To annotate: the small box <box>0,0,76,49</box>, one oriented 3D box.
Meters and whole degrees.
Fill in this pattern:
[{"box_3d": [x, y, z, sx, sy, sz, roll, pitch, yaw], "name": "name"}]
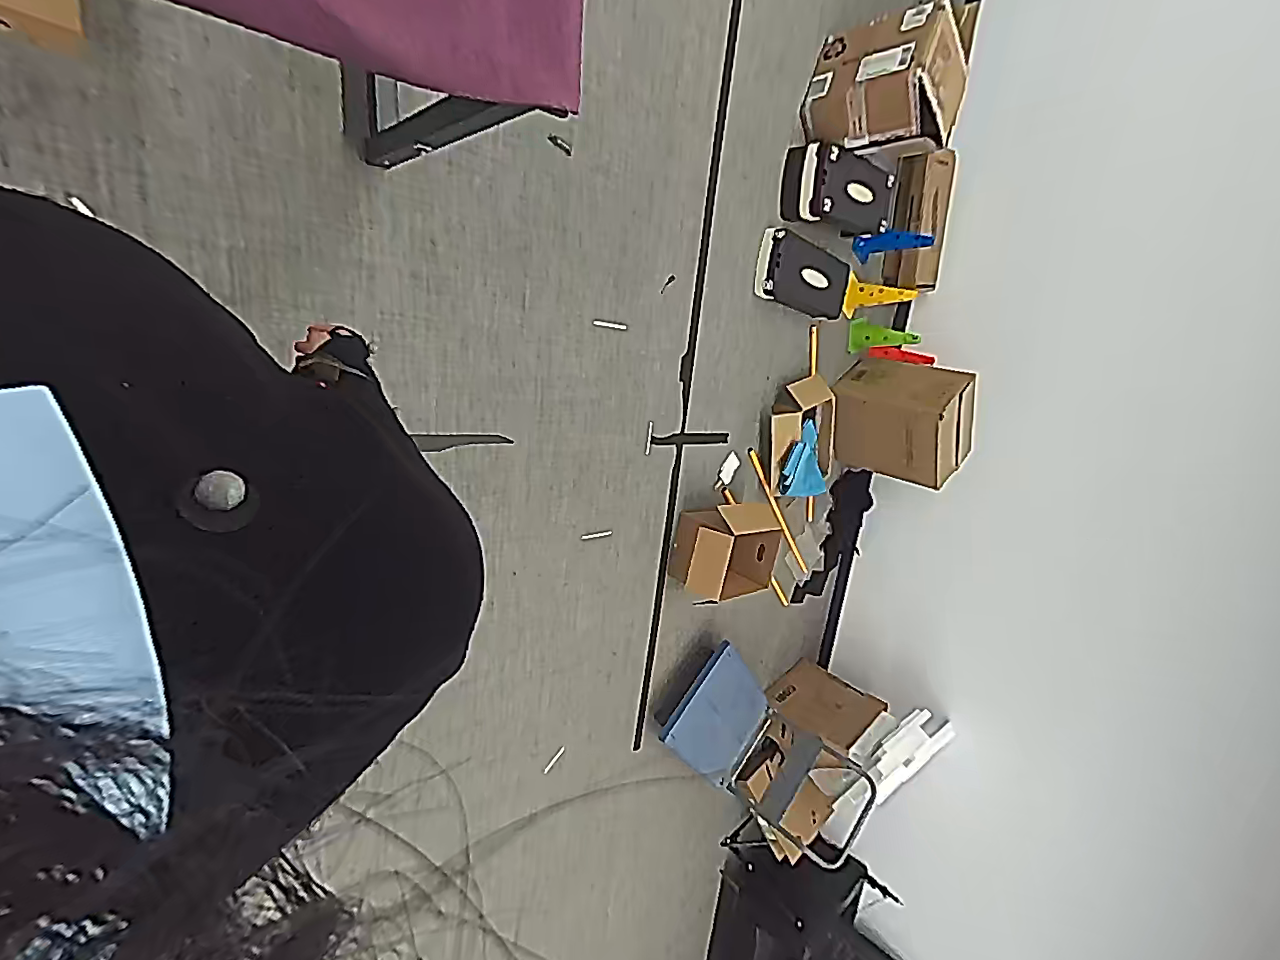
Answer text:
[{"box_3d": [-0.981, -0.804, 0.819, 0.168, 0.176, 0.179, -5, 108, -45], "name": "small box"}]
